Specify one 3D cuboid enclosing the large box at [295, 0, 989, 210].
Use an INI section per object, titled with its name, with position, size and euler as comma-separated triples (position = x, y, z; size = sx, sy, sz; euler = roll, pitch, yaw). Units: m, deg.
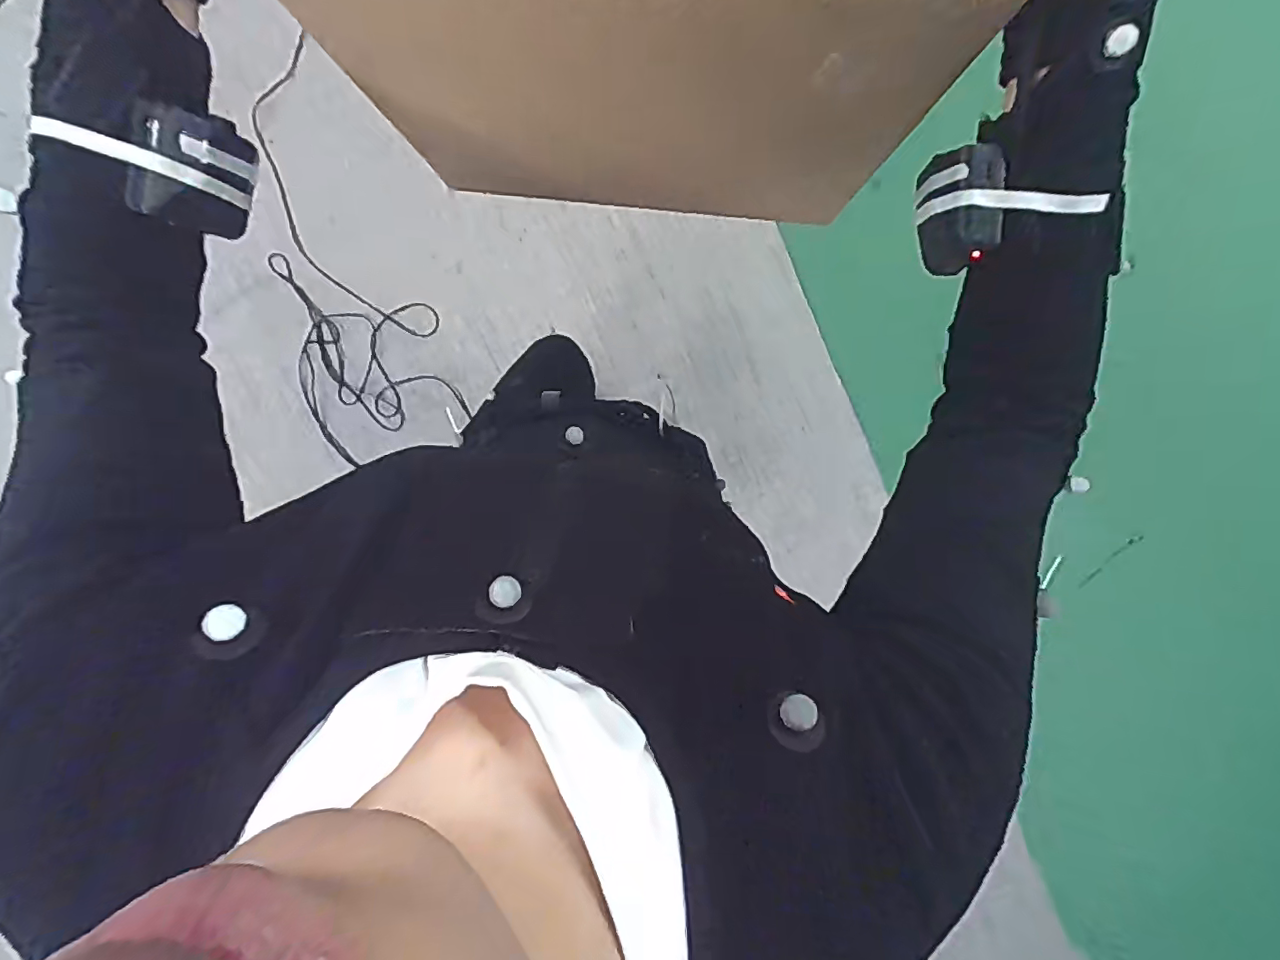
[large box]
position = 0.002, -0.427, 0.402
size = 0.408, 0.320, 0.320
euler = 5, 97, 0
